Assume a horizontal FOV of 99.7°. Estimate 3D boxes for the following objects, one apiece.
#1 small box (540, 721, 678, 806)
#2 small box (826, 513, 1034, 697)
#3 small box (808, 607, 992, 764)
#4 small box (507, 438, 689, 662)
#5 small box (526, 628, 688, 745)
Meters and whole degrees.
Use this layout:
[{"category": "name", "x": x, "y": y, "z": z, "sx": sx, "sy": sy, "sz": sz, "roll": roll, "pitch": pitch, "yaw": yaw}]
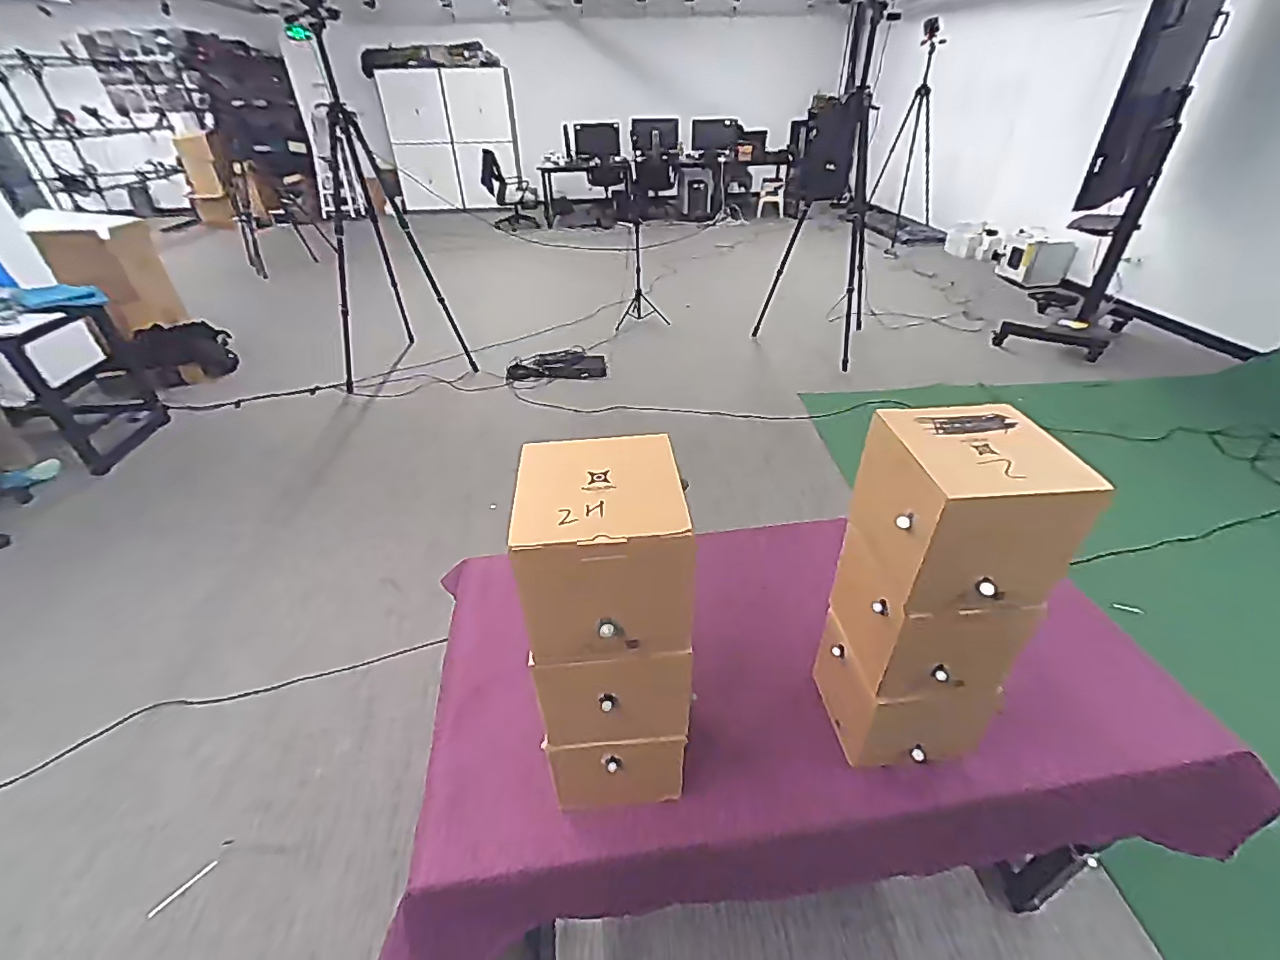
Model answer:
[{"category": "small box", "x": -0.041, "y": 0.345, "z": 0.779, "sx": 0.179, "sy": 0.176, "sz": 0.168, "roll": -3, "pitch": 36, "yaw": -3}, {"category": "small box", "x": 0.370, "y": 0.166, "z": 0.735, "sx": 0.168, "sy": 0.176, "sz": 0.179, "roll": -4, "pitch": 36, "yaw": -3}, {"category": "small box", "x": 0.376, "y": 0.304, "z": 0.820, "sx": 0.179, "sy": 0.176, "sz": 0.168, "roll": -4, "pitch": 35, "yaw": -4}, {"category": "small box", "x": -0.043, "y": 0.072, "z": 0.595, "sx": 0.168, "sy": 0.176, "sz": 0.179, "roll": -5, "pitch": 36, "yaw": -4}, {"category": "small box", "x": -0.038, "y": 0.211, "z": 0.686, "sx": 0.179, "sy": 0.176, "sz": 0.168, "roll": -5, "pitch": 36, "yaw": -2}]
